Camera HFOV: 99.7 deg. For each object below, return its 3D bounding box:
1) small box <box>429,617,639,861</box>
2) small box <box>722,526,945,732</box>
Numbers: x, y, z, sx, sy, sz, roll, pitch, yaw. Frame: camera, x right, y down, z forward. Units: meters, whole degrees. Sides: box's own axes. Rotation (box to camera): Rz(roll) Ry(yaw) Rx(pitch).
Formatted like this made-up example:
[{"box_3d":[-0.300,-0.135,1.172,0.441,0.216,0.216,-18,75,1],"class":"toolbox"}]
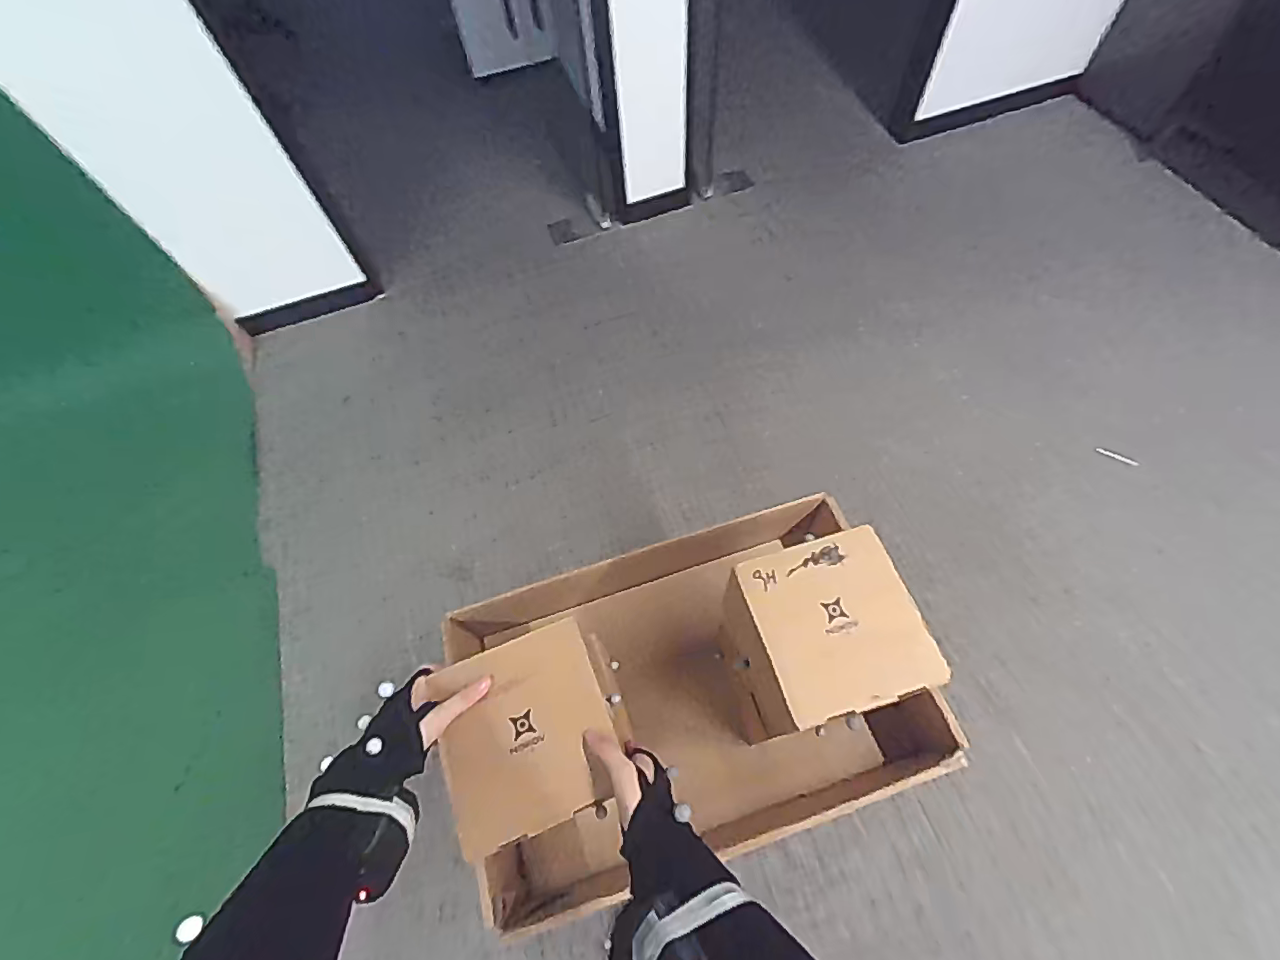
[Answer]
[{"box_3d":[-0.107,0.280,0.601,0.168,0.176,0.179,-21,62,-7],"class":"small box"},{"box_3d":[0.204,0.180,0.629,0.168,0.176,0.179,-15,63,-5],"class":"small box"}]
